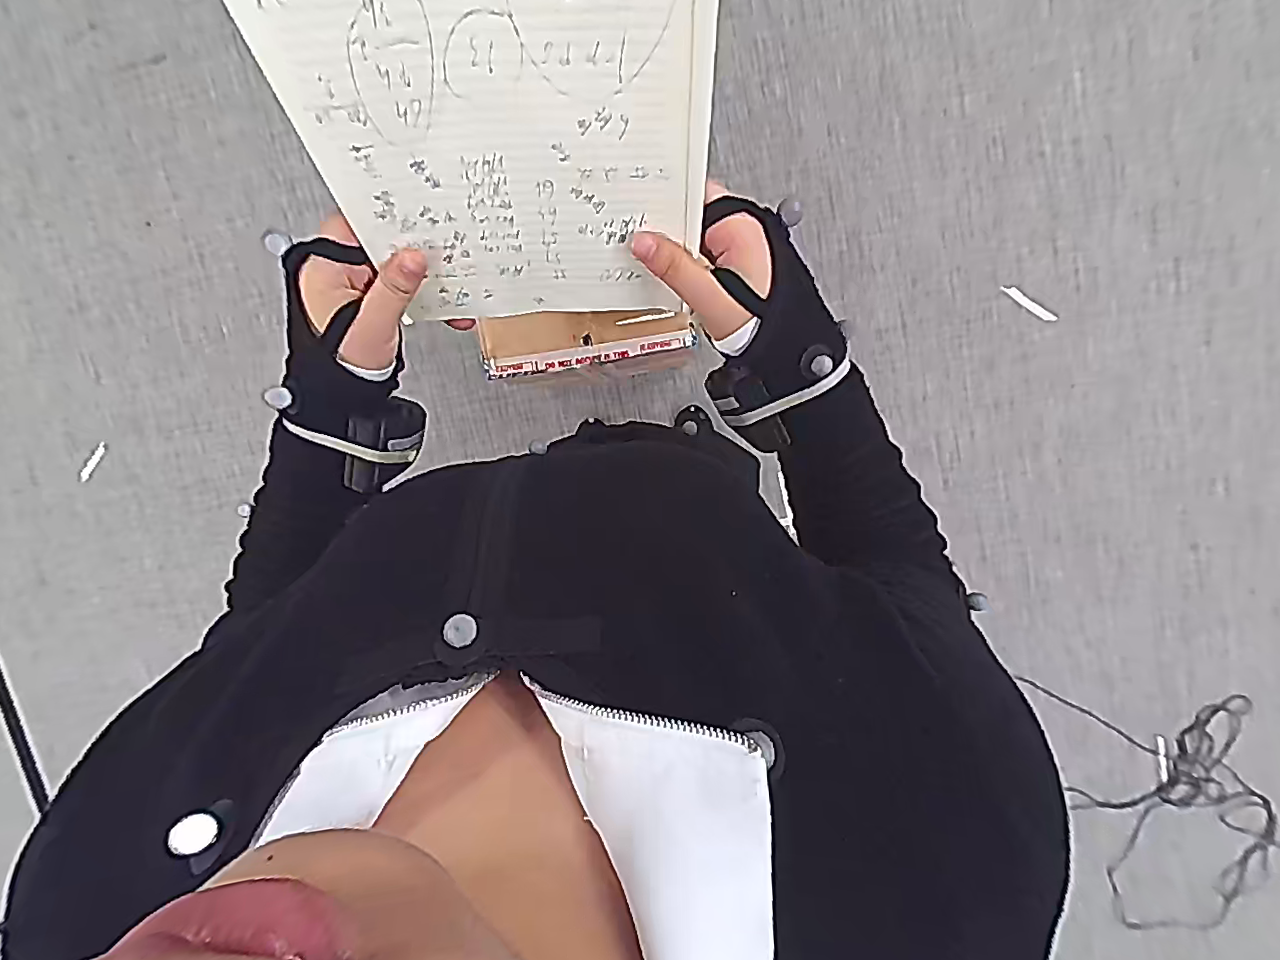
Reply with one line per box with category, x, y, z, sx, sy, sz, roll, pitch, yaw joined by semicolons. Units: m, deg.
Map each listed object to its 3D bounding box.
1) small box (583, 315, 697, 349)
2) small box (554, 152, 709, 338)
small box;-0.014;-0.321;0.888;0.179;0.176;0.168;-13;97;2
small box;-0.011;-0.299;0.725;0.168;0.176;0.179;-10;99;1
